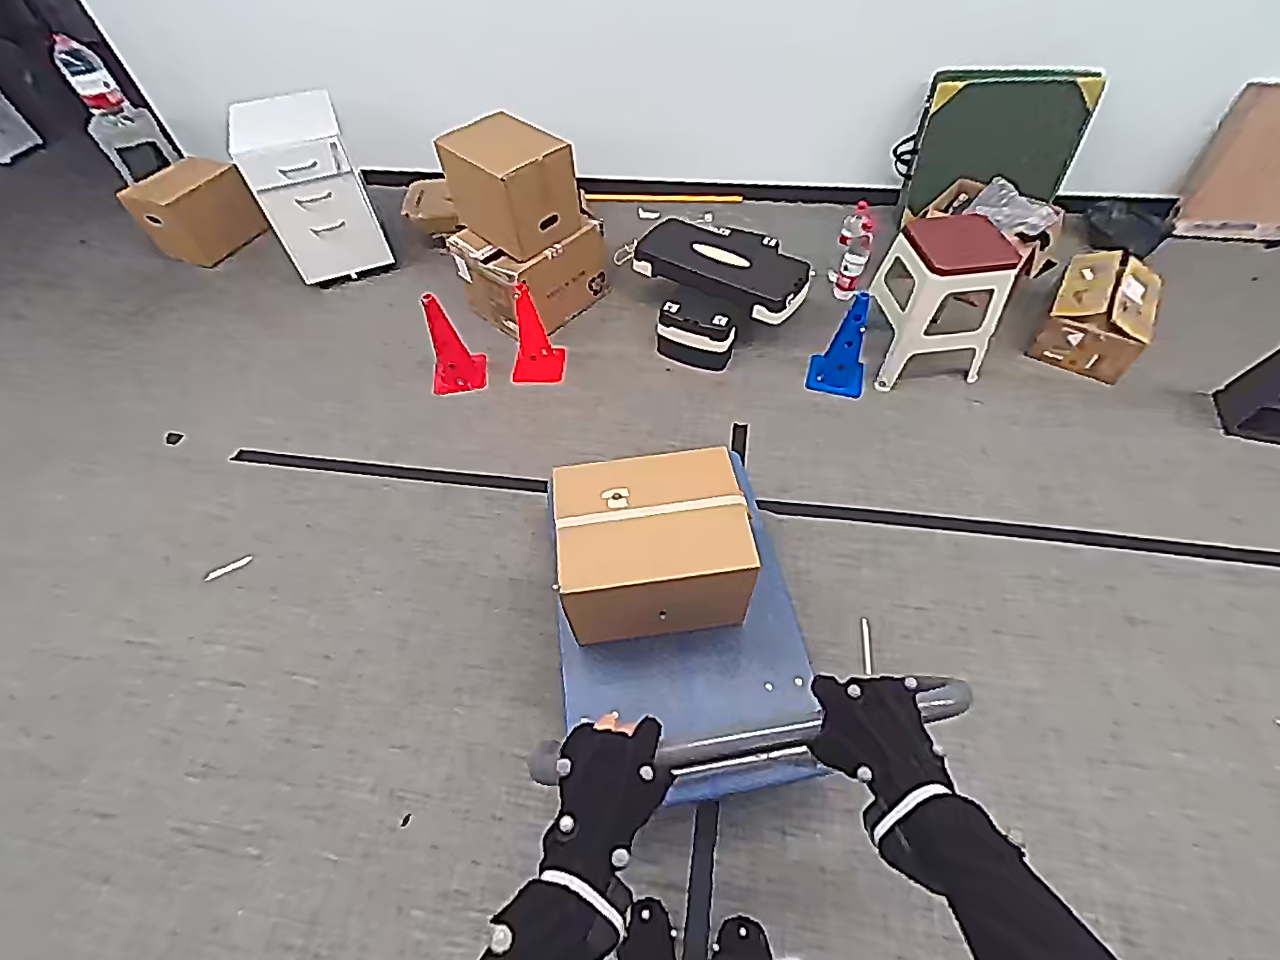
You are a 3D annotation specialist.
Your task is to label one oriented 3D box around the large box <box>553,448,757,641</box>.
[{"bbox_3d":[0.028,0.159,1.276,0.408,0.320,0.320,-8,55,-2],"label":"large box"}]
